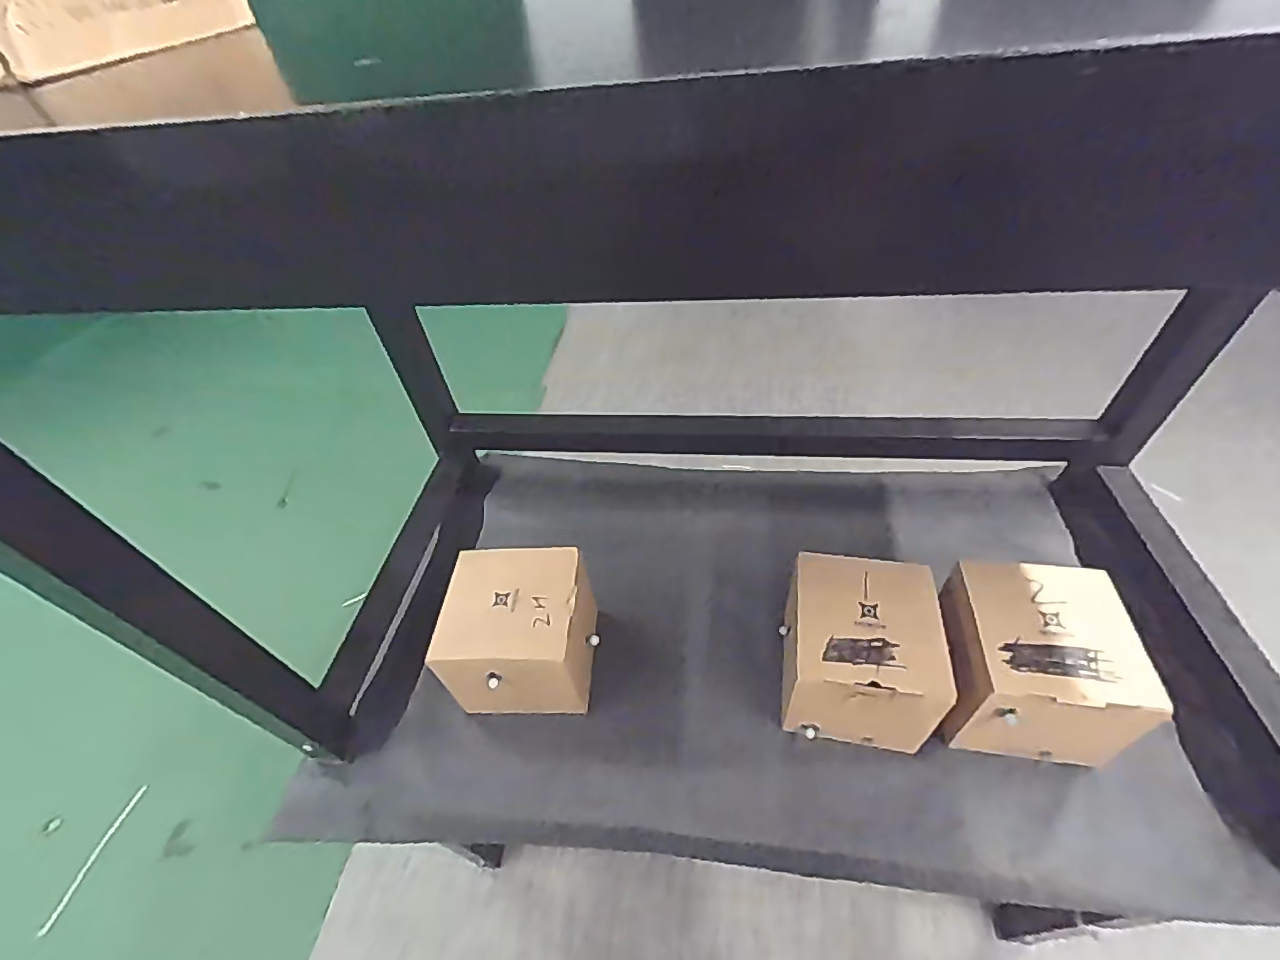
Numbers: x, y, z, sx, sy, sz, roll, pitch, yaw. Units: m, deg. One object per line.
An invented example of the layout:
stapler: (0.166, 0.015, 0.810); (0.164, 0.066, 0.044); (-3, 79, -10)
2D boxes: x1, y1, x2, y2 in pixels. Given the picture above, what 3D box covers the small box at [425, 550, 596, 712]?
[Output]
small box: (-0.166, 0.215, 0.762); (0.179, 0.176, 0.168); (-1, 47, 5)
